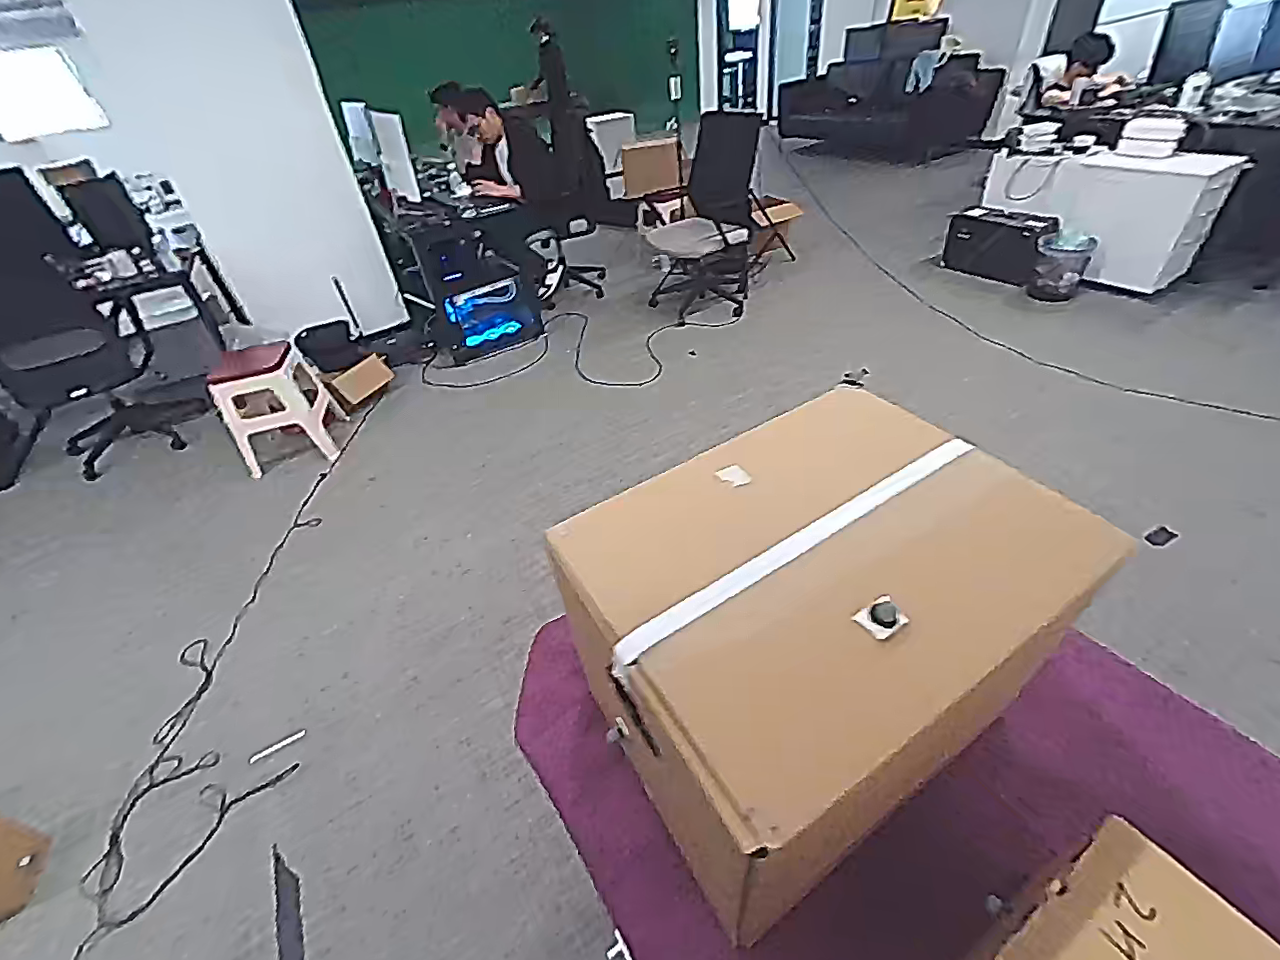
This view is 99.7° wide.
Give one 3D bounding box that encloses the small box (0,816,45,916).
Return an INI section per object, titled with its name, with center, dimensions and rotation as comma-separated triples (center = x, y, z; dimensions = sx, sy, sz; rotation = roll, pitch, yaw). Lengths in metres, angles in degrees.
[small box]
center = -1.536, 0.902, 1.219
dimensions = 0.179, 0.176, 0.168
rotation = -21, 42, -16
